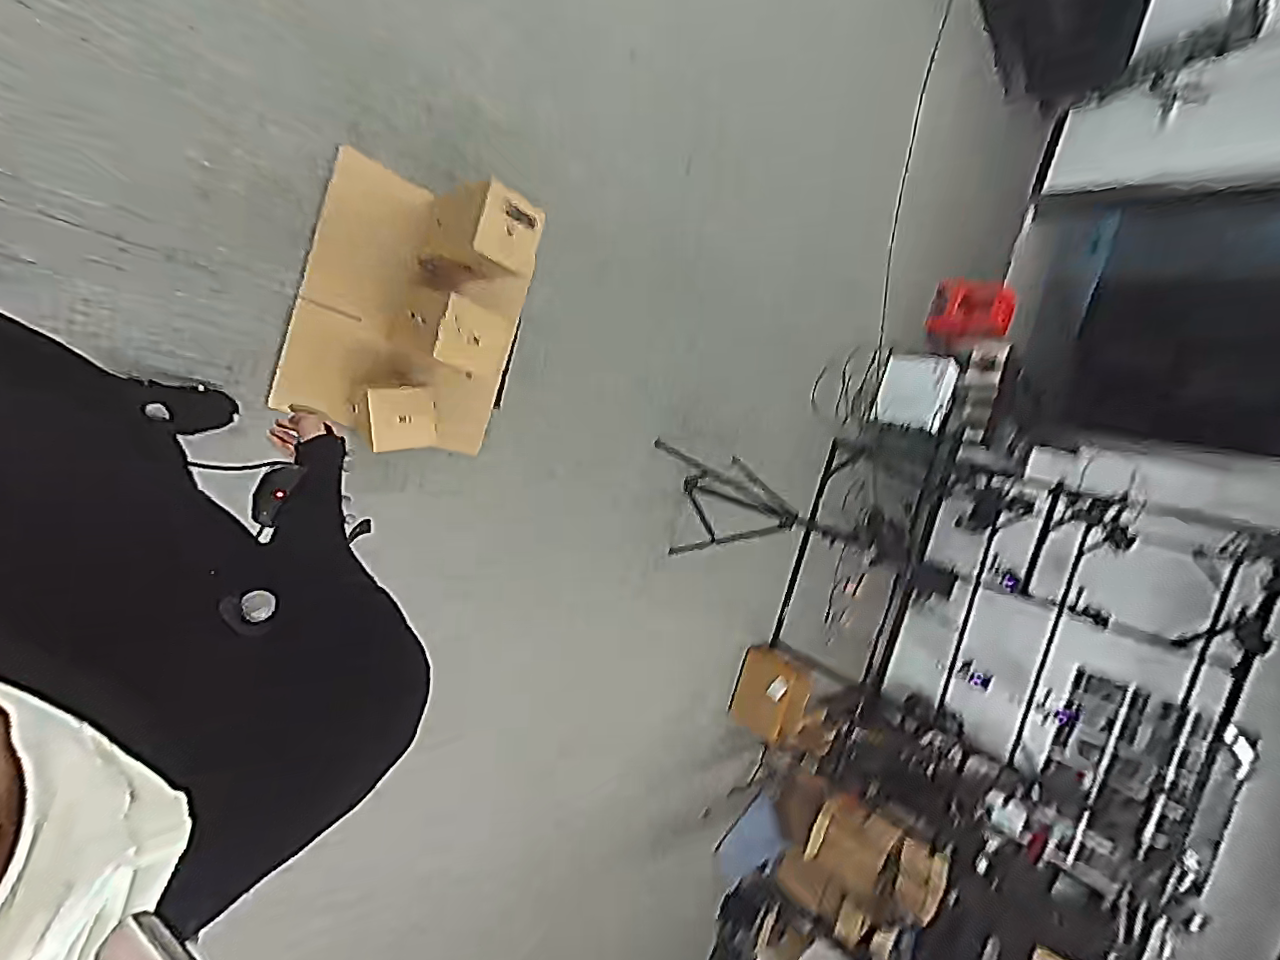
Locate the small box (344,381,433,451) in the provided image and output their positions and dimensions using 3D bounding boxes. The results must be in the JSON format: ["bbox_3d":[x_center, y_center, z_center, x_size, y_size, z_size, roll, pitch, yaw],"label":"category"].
[{"bbox_3d":[-0.703,-0.184,1.514,0.179,0.176,0.168,-13,112,-43],"label":"small box"}]

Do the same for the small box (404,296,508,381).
[{"bbox_3d":[-0.486,-0.375,1.425,0.179,0.176,0.168,18,91,-46],"label":"small box"}]

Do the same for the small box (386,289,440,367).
[{"bbox_3d":[-0.598,-0.425,1.536,0.168,0.176,0.179,17,91,-46],"label":"small box"}]

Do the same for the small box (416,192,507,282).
[{"bbox_3d":[-0.511,-0.677,1.531,0.168,0.176,0.179,15,92,-47],"label":"small box"}]
